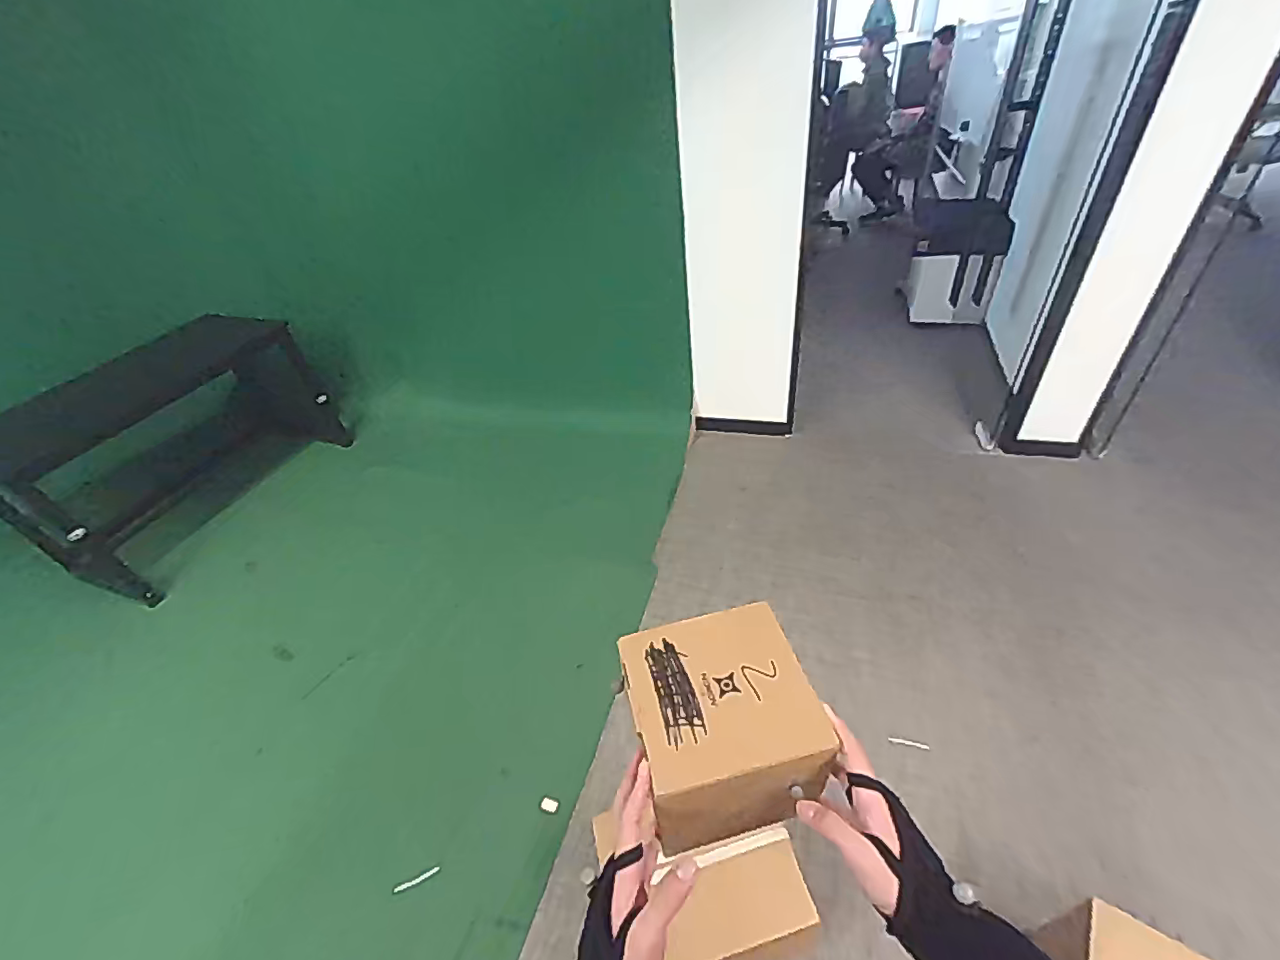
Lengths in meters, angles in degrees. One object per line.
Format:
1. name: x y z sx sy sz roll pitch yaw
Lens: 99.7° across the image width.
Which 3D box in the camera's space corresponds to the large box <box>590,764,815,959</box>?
1. large box: 0.133 0.923 1.236 0.408 0.320 0.320 -15 41 -7
